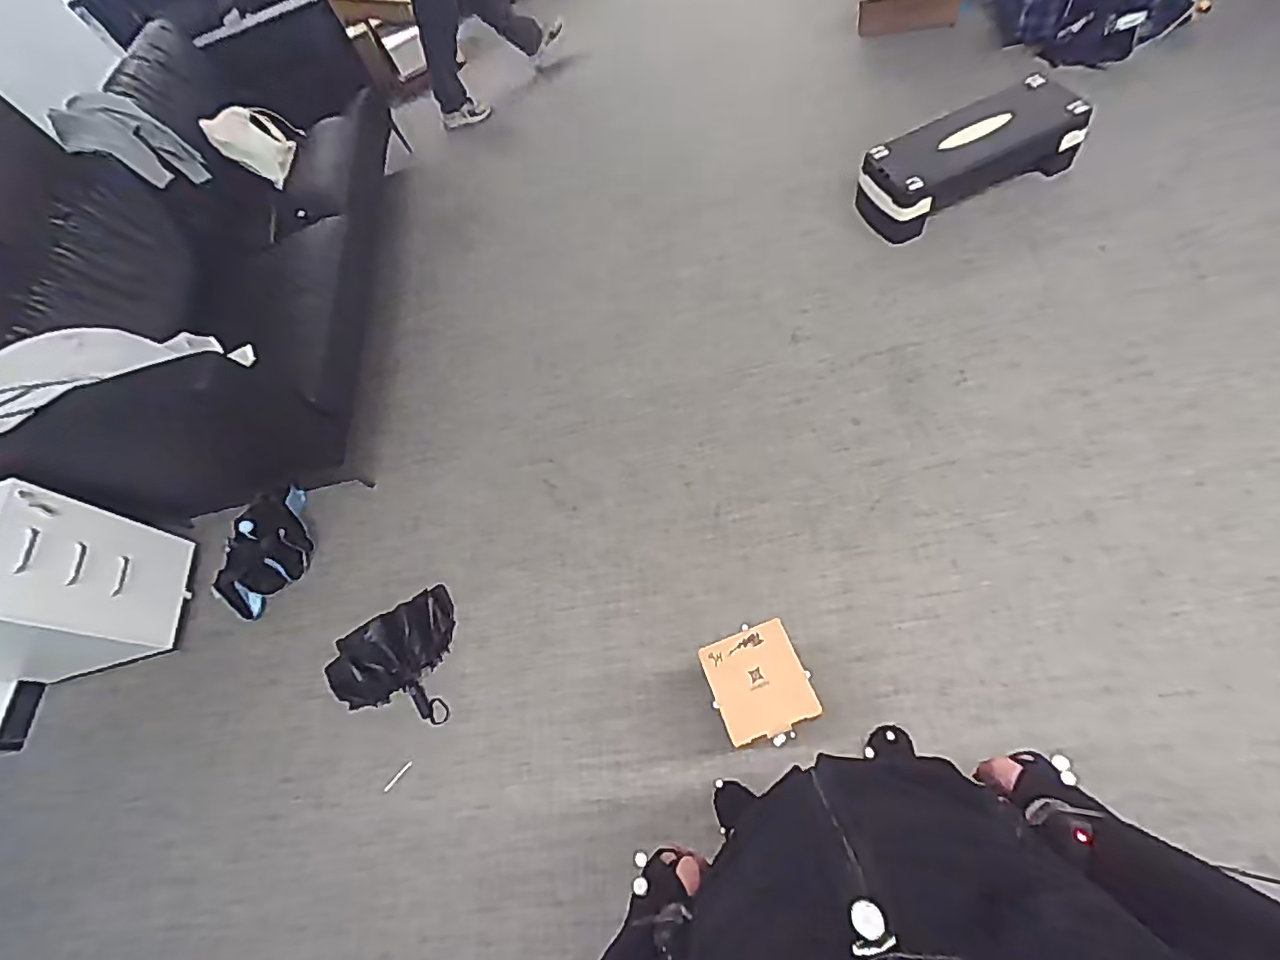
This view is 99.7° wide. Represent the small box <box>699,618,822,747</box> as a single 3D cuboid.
[{"bbox_3d":[0.227,0.385,1.024,0.168,0.176,0.179,-23,62,3],"label":"small box"}]
